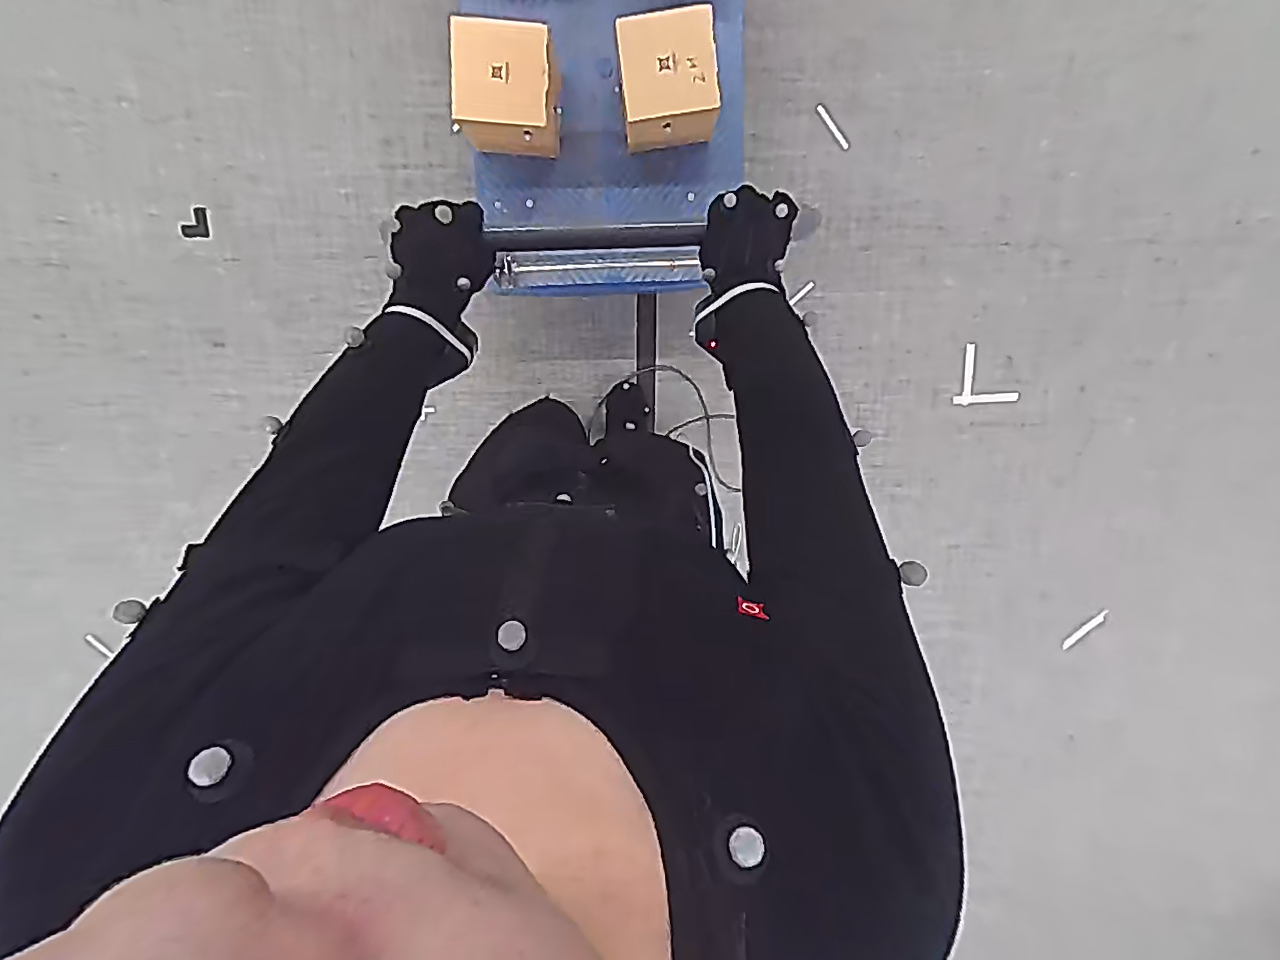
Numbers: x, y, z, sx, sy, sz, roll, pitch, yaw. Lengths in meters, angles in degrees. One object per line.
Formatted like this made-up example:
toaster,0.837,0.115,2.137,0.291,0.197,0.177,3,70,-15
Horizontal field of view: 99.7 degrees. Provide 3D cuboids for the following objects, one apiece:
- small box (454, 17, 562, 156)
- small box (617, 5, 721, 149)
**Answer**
small box,-0.251,-0.757,1.058,0.179,0.176,0.168,3,104,-3
small box,0.055,-0.772,1.056,0.179,0.176,0.168,-7,105,2
